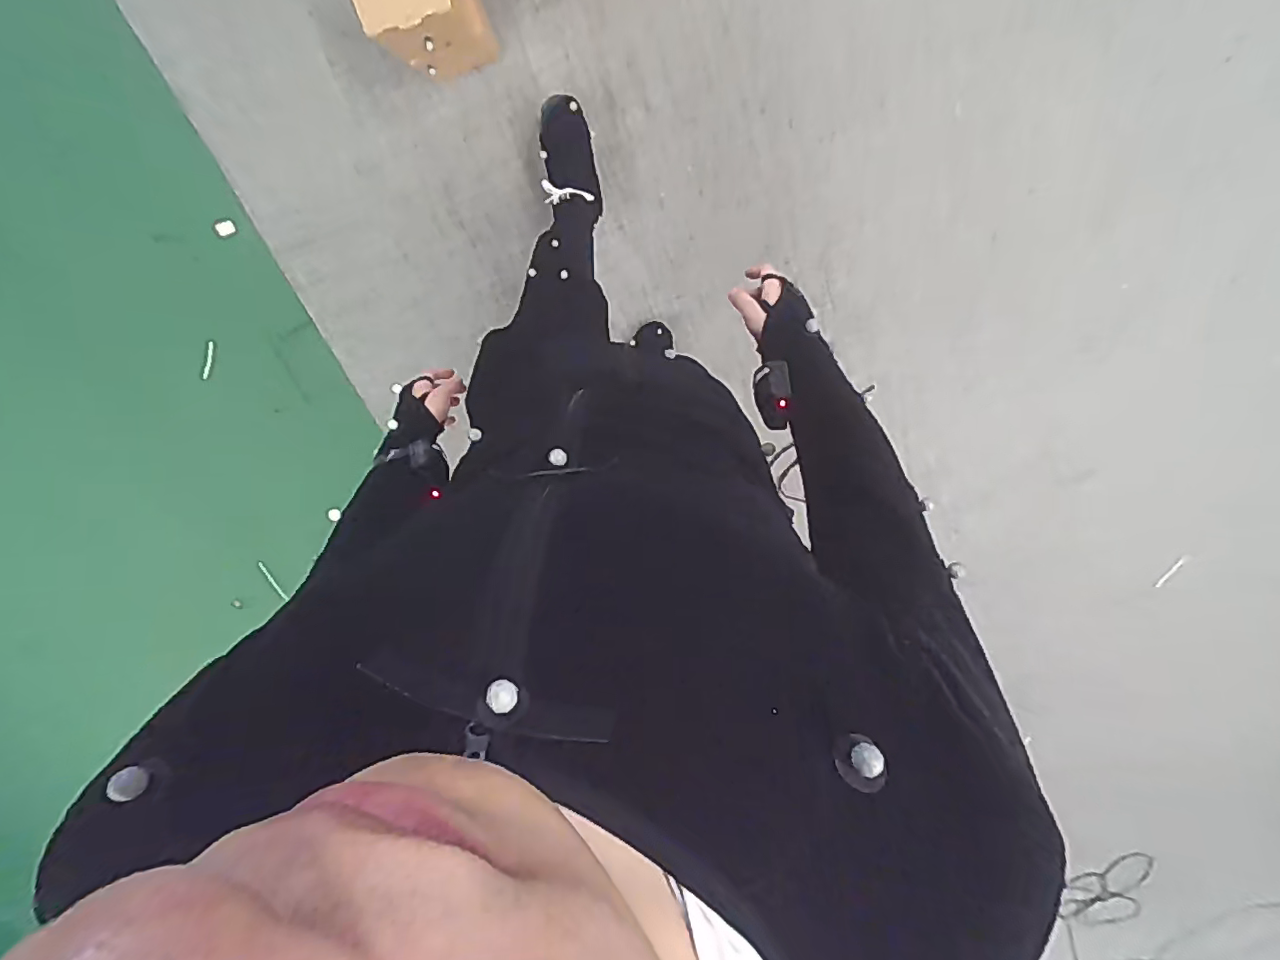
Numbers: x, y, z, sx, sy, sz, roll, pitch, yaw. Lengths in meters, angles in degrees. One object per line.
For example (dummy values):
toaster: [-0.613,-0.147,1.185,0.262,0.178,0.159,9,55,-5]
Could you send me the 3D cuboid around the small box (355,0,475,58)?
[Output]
small box: [-0.423,-0.910,0.991,0.168,0.176,0.179,-13,115,5]
